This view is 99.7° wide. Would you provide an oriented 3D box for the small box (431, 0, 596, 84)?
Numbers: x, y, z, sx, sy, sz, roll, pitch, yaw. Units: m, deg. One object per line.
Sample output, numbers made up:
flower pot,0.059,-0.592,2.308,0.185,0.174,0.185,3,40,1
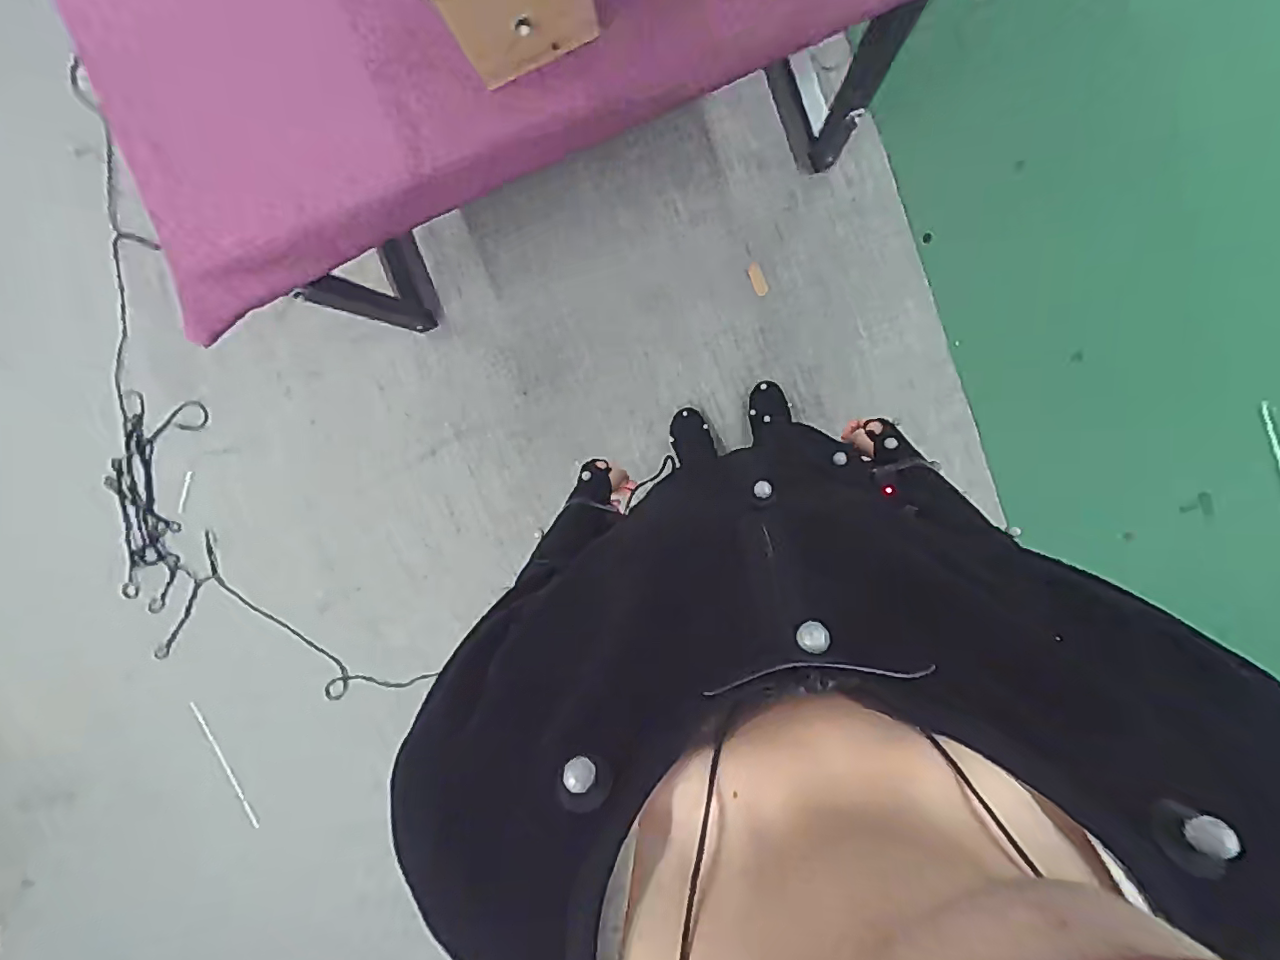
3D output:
small box,-0.166,-0.622,0.645,0.168,0.176,0.179,-21,93,8
